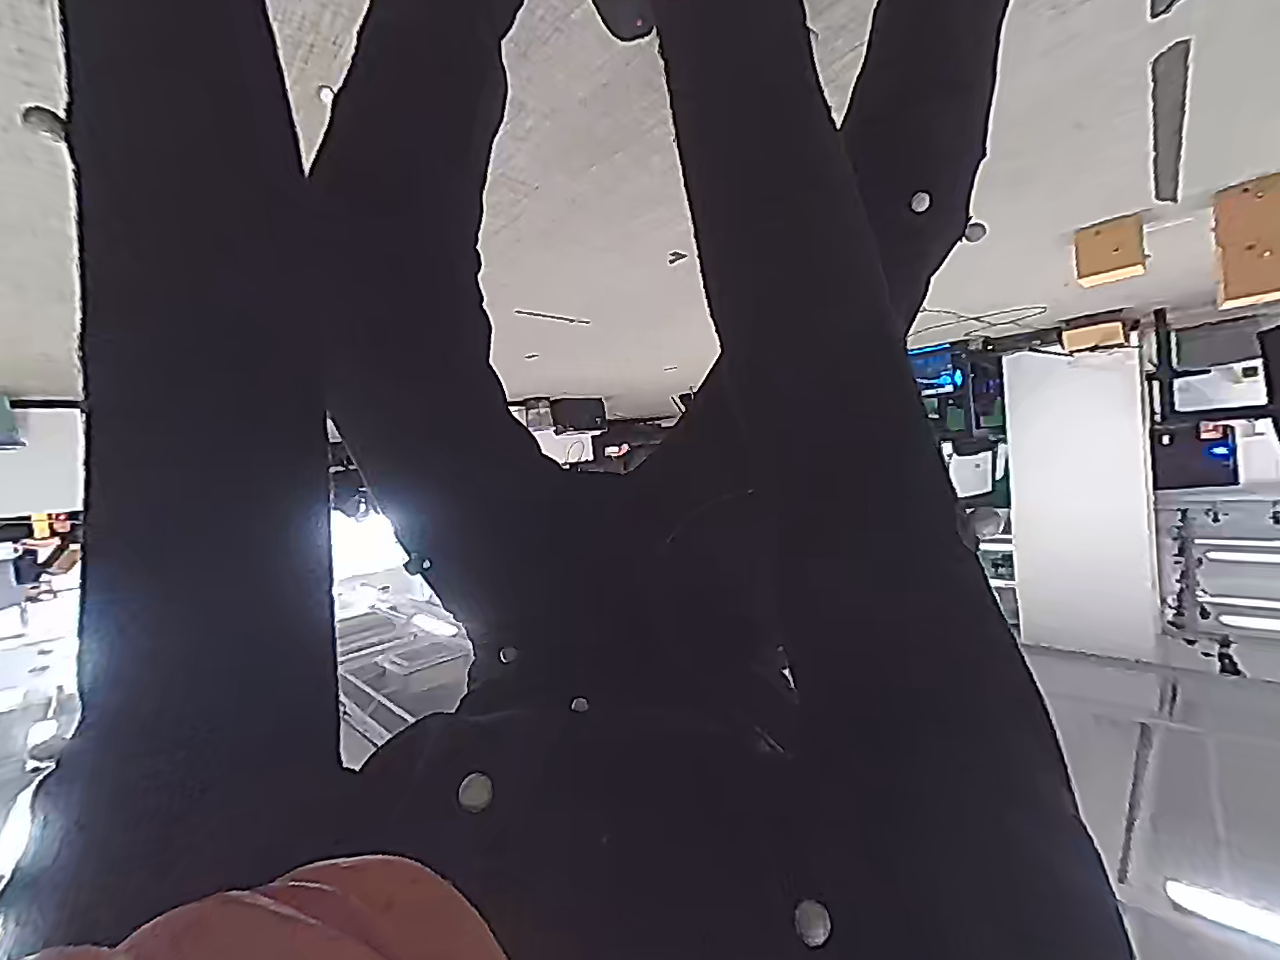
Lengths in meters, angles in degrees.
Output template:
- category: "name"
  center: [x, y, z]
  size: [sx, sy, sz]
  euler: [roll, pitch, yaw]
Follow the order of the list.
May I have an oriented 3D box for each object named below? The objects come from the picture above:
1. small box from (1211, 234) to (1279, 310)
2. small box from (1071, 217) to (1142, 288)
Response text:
- category: "small box"
  center: [1.862, -0.631, 1.639]
  size: [0.168, 0.176, 0.179]
  euler: [-4, -178, 43]
- category: "small box"
  center: [1.606, -0.782, 1.861]
  size: [0.179, 0.176, 0.168]
  euler: [-8, -176, -43]
